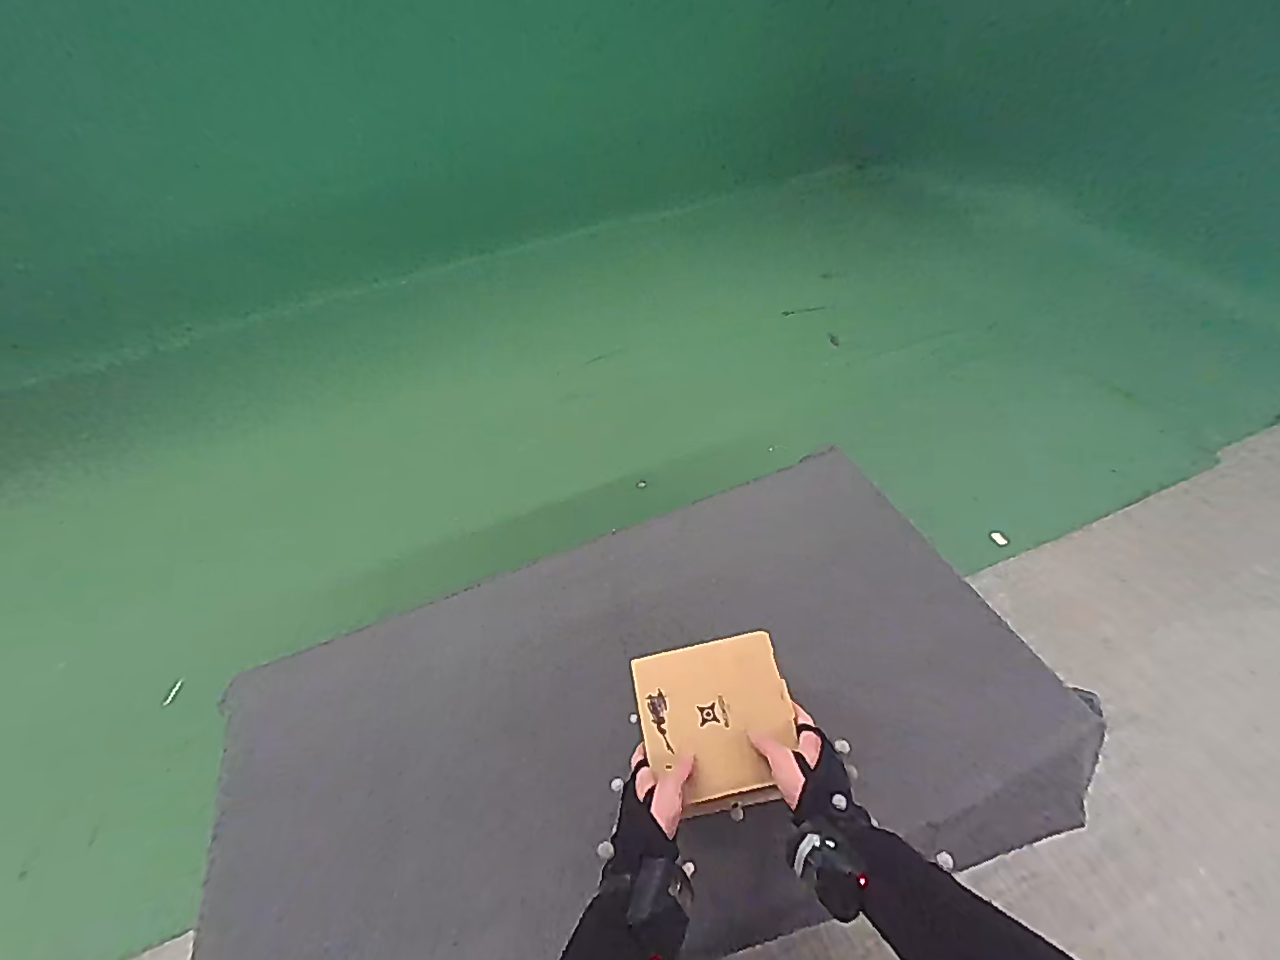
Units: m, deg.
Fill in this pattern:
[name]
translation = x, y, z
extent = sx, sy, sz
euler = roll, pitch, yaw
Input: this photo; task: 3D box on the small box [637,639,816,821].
[small box]
translation = 0.100, 0.322, 0.688
extent = 0.179, 0.176, 0.168
euler = -11, 54, 0
